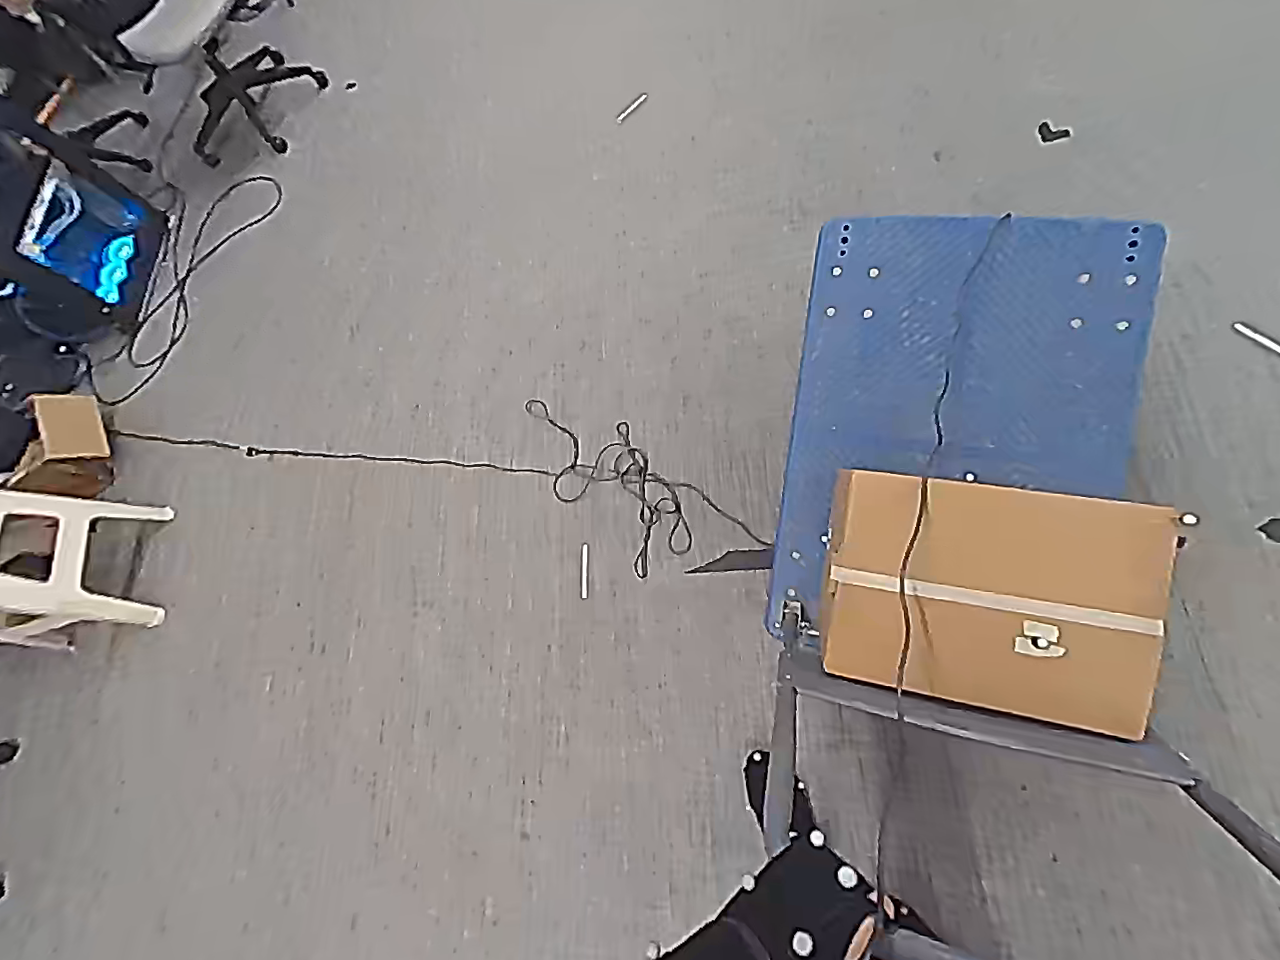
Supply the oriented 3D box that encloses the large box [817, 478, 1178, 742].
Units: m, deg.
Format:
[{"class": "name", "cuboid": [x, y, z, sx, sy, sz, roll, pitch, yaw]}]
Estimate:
[{"class": "large box", "cuboid": [0.524, 0.170, 0.896, 0.408, 0.320, 0.320, 8, 94, 15]}]
